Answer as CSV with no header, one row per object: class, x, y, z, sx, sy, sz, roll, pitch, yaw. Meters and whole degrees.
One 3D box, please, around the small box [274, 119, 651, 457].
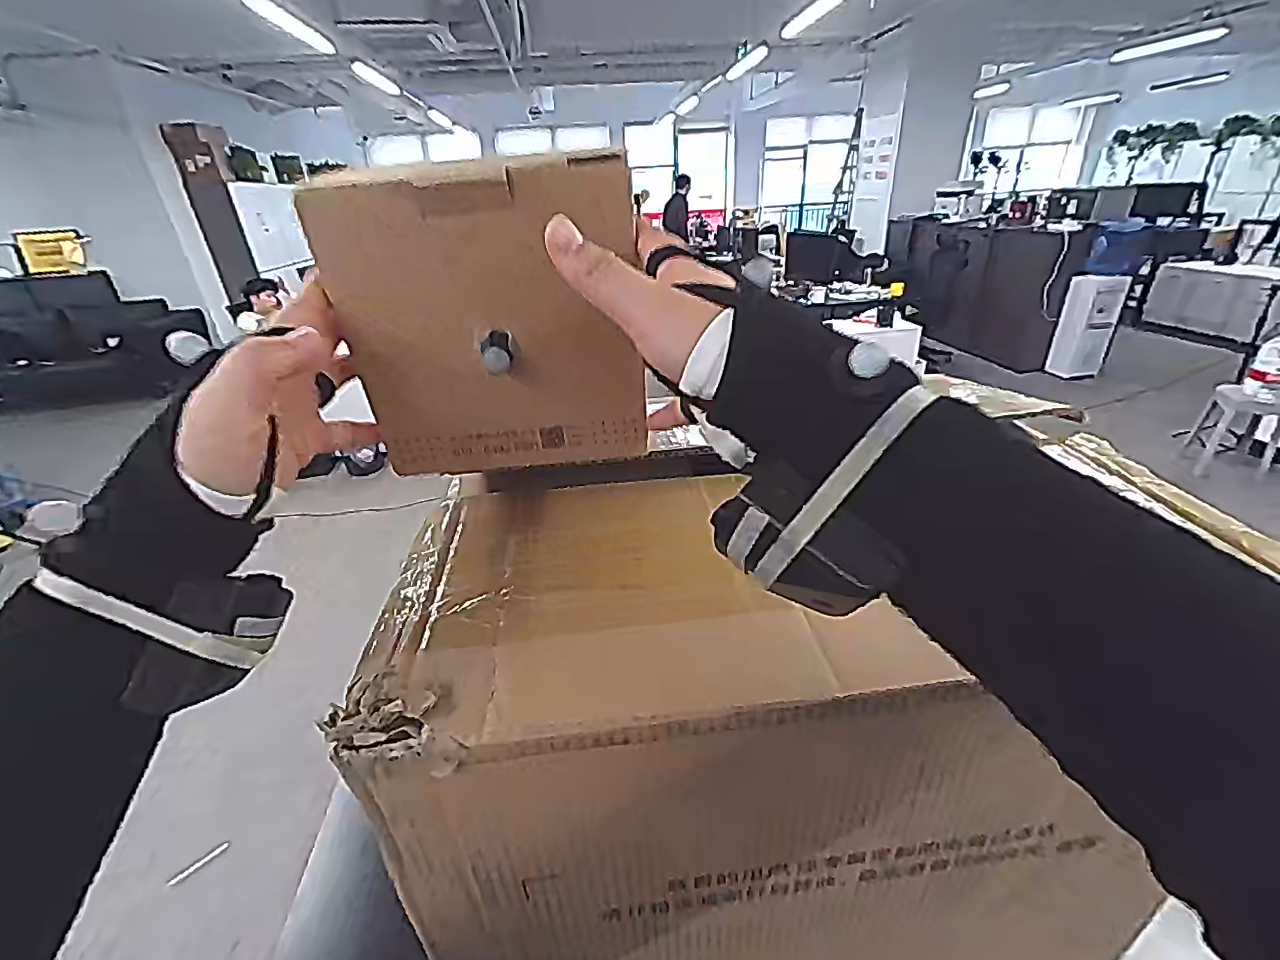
small box,-0.084,-0.126,0.358,0.168,0.176,0.179,-6,36,0
